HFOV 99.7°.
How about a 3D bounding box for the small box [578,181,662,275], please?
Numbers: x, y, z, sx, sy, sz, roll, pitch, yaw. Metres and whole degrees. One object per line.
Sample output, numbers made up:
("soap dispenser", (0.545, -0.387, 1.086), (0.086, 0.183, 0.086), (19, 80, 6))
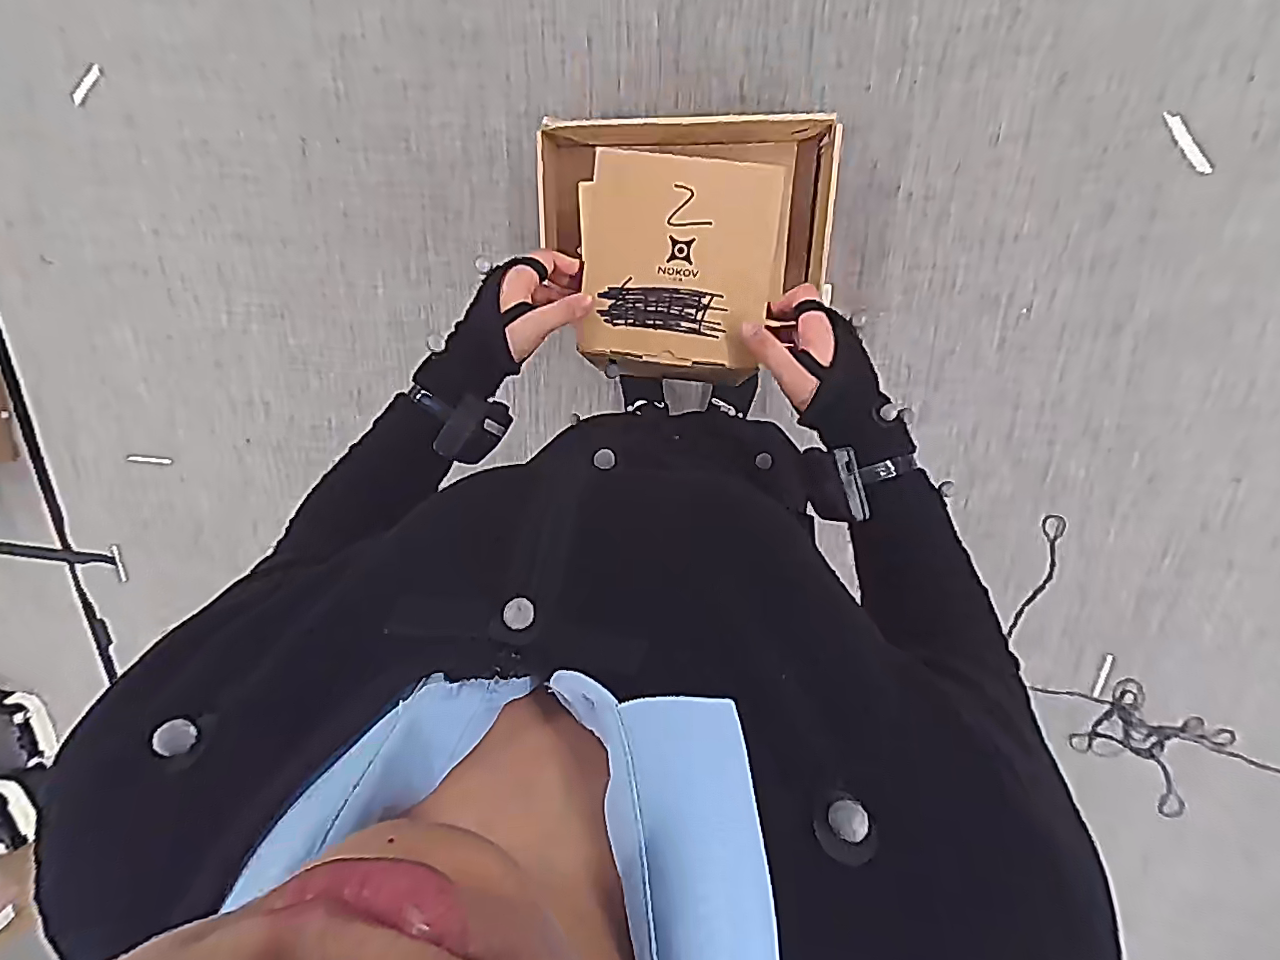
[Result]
("small box", (-0.038, -0.554, 1.209), (0.168, 0.176, 0.179), (1, 108, 5))

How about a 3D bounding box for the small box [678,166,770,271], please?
("small box", (0.178, -0.561, 1.181), (0.168, 0.176, 0.179), (8, 109, 5))
